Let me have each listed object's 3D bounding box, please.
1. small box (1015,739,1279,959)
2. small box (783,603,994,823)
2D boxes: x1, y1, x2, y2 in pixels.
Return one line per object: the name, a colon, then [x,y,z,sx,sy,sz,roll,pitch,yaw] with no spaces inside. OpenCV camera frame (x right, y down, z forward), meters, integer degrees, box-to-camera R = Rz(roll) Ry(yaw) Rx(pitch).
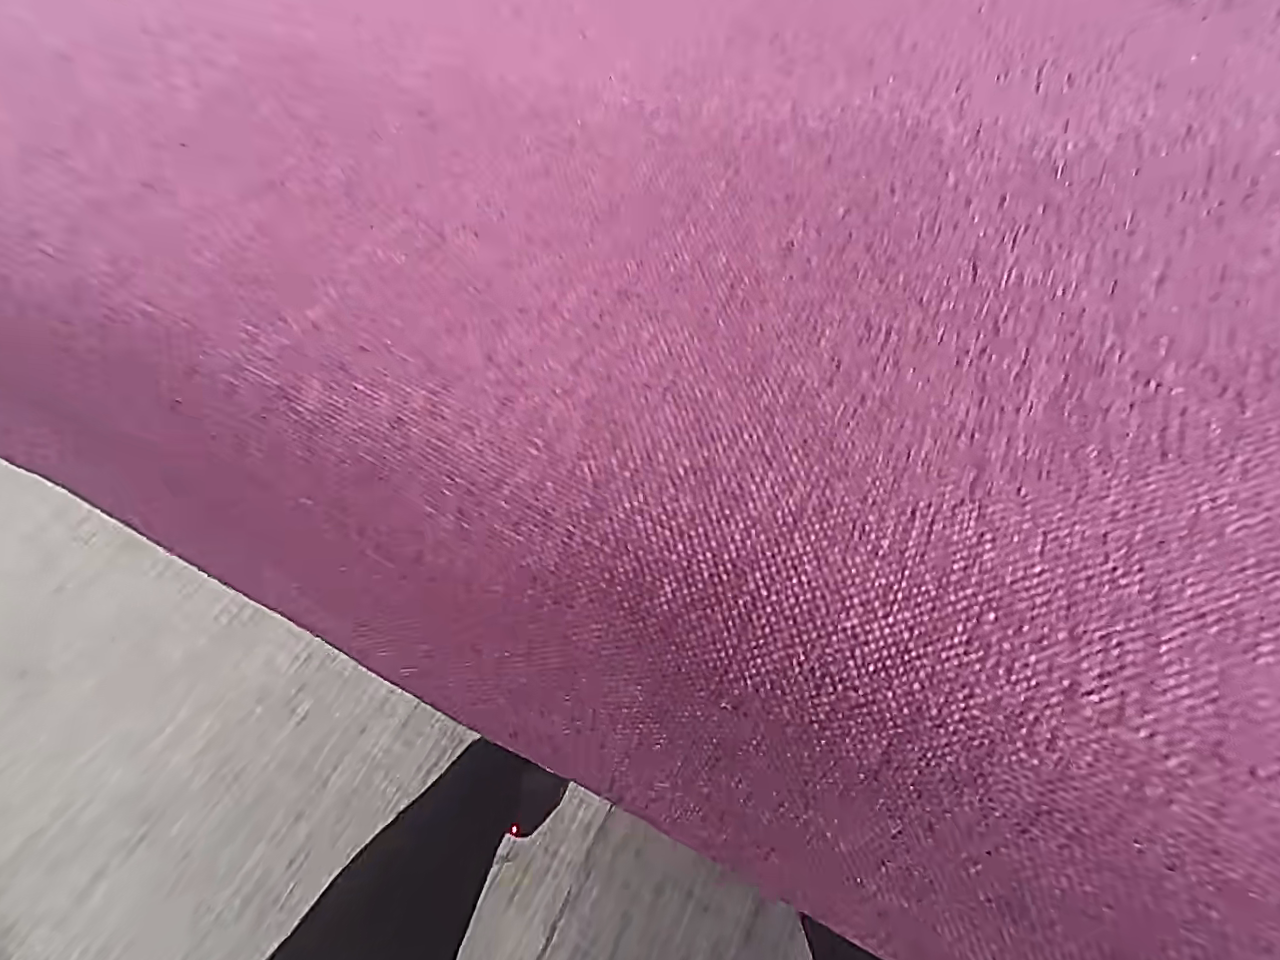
small box: [0.561,0.419,0.598,0.168,0.176,0.179,32,67,17]
small box: [0.293,0.286,0.671,0.168,0.176,0.179,26,65,14]
